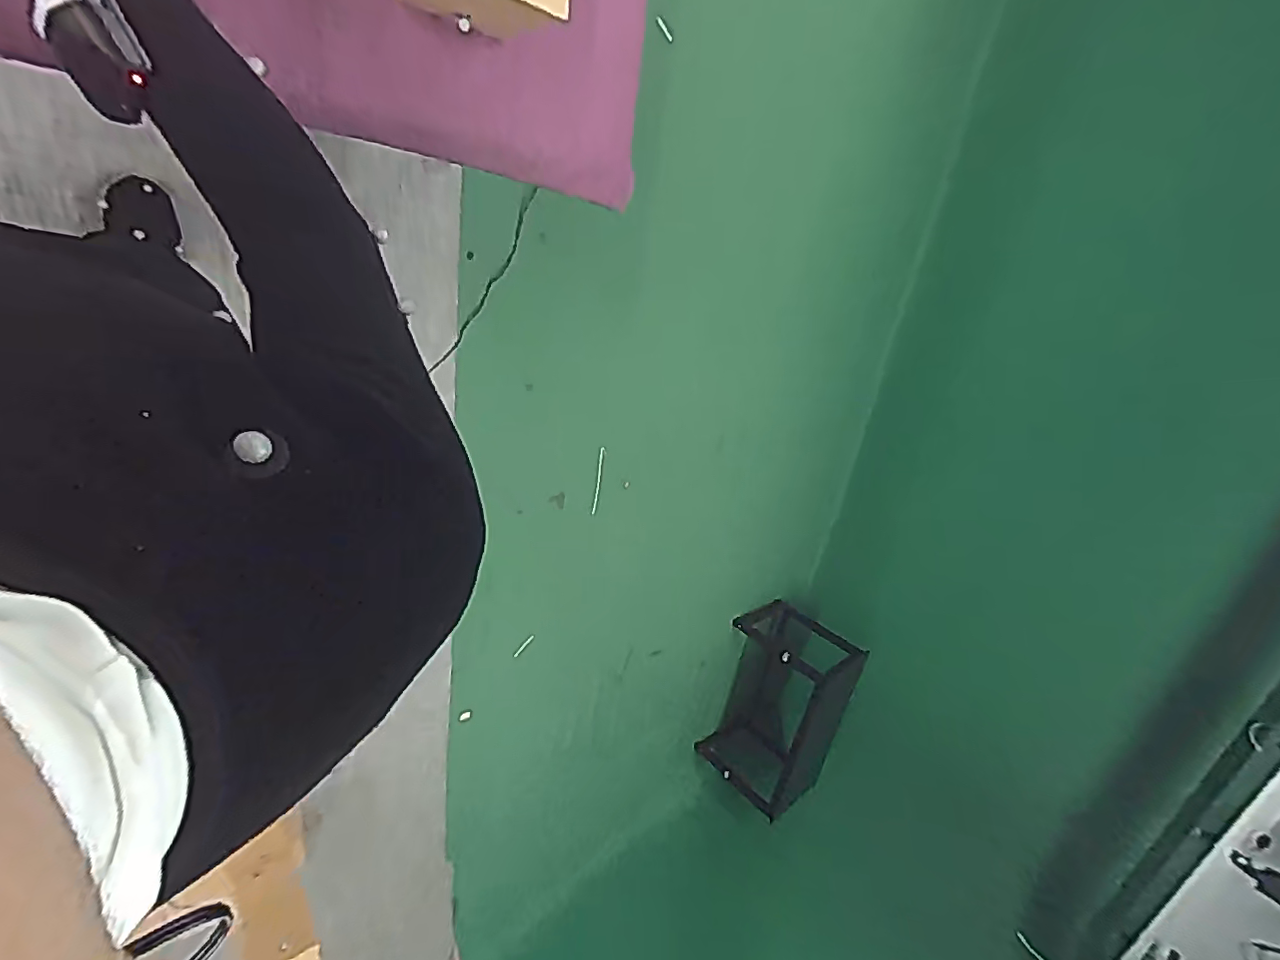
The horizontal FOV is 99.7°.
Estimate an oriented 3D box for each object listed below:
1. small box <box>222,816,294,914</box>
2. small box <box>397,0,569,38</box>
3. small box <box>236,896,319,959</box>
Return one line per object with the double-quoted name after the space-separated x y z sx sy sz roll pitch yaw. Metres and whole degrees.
-1.289 1.289 1.825 0.179 0.176 0.168 -5 116 -43 "small box"
-0.204 -0.691 0.683 0.179 0.176 0.168 -14 121 -40 "small box"
-1.075 1.397 1.602 0.179 0.176 0.168 -3 113 -44 "small box"
